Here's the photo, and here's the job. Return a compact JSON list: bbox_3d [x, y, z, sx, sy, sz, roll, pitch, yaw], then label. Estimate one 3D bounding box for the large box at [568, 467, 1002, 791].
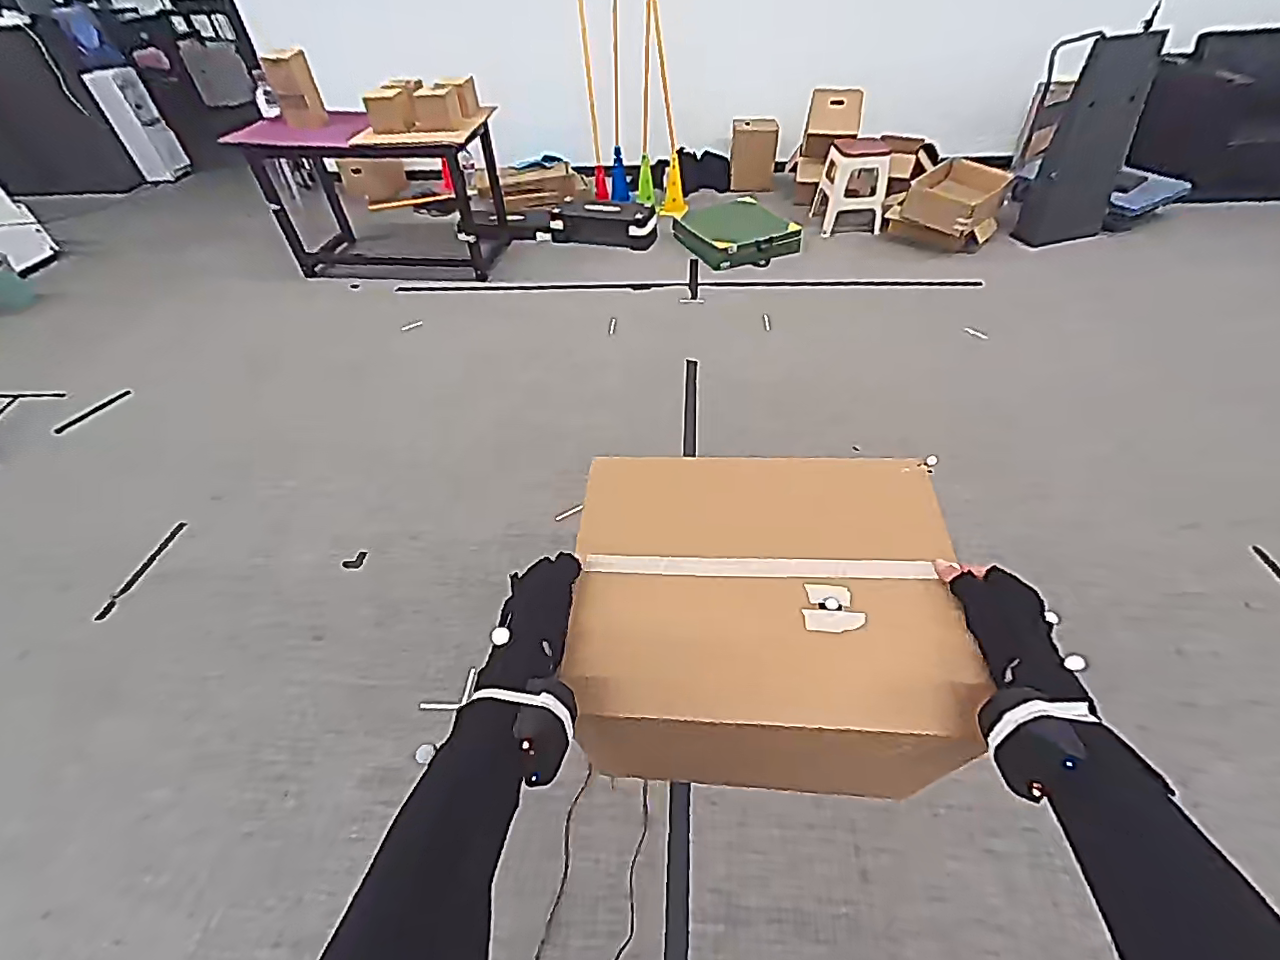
[{"bbox_3d":[0.146,0.196,0.704,0.408,0.320,0.320,0,52,6],"label":"large box"}]
